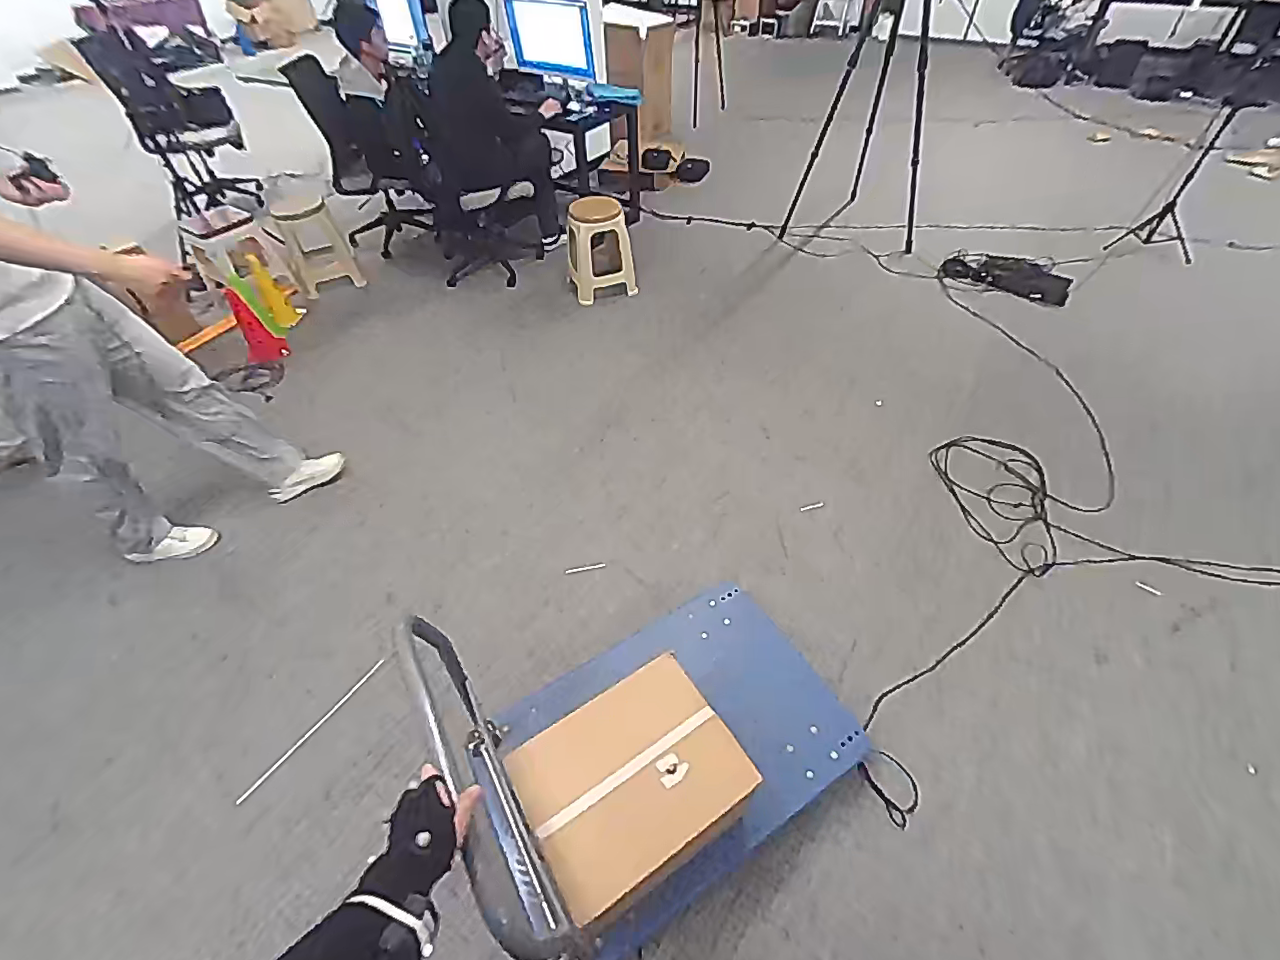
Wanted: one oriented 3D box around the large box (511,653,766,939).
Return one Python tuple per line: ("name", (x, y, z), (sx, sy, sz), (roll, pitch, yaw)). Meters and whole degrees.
("large box", (-0.005, 0.657, 1.143), (0.408, 0.320, 0.320), (-26, 53, -22))
